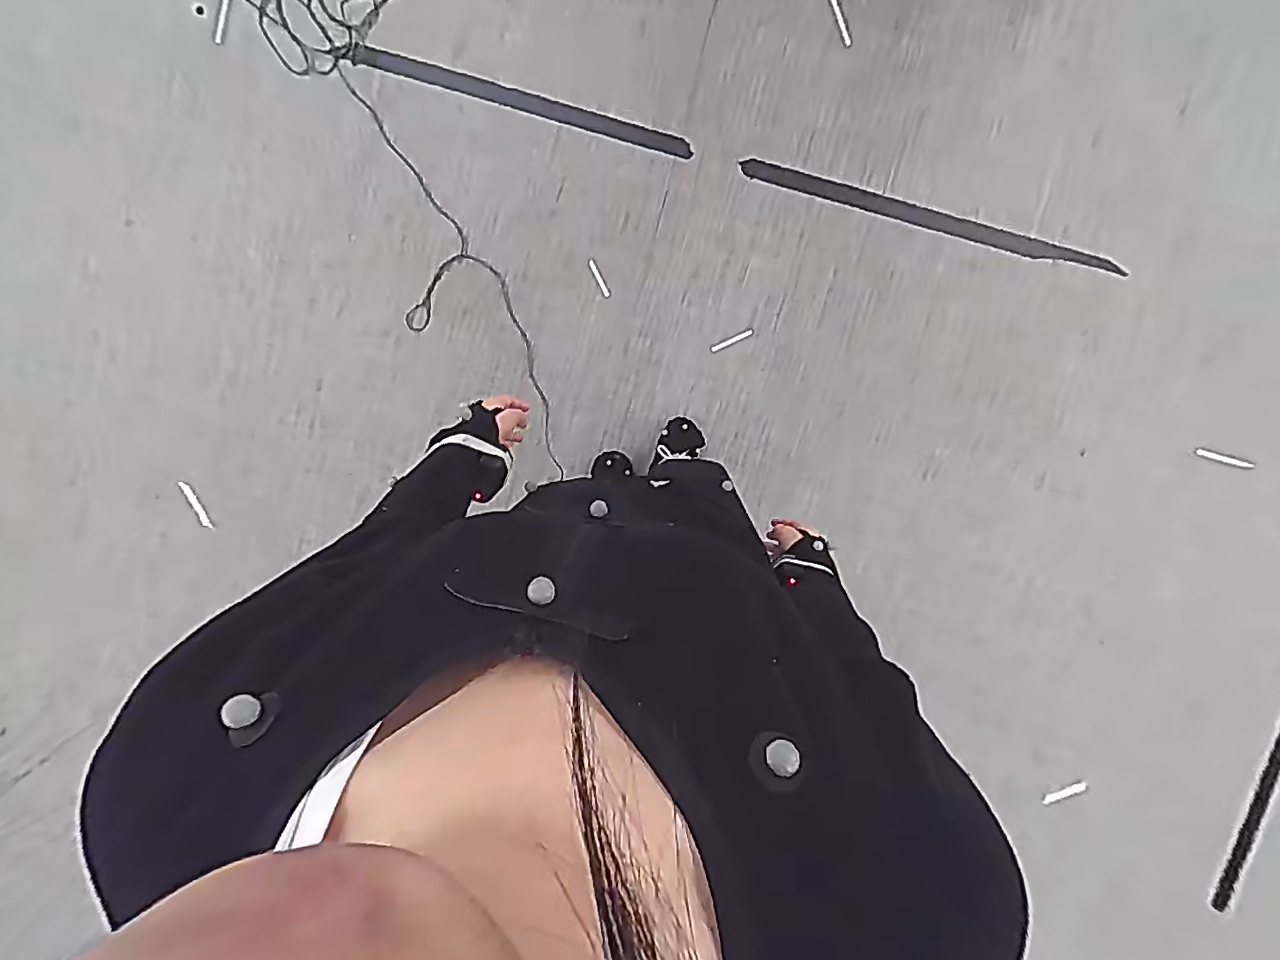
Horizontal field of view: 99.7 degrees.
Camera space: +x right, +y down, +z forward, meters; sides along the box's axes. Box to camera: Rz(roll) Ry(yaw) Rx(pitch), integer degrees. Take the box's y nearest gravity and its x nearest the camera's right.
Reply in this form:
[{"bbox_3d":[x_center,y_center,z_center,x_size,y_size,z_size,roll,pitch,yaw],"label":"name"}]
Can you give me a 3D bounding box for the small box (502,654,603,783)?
[{"bbox_3d":[-0.178,0.500,1.153,0.168,0.176,0.179,12,93,0],"label":"small box"}]
